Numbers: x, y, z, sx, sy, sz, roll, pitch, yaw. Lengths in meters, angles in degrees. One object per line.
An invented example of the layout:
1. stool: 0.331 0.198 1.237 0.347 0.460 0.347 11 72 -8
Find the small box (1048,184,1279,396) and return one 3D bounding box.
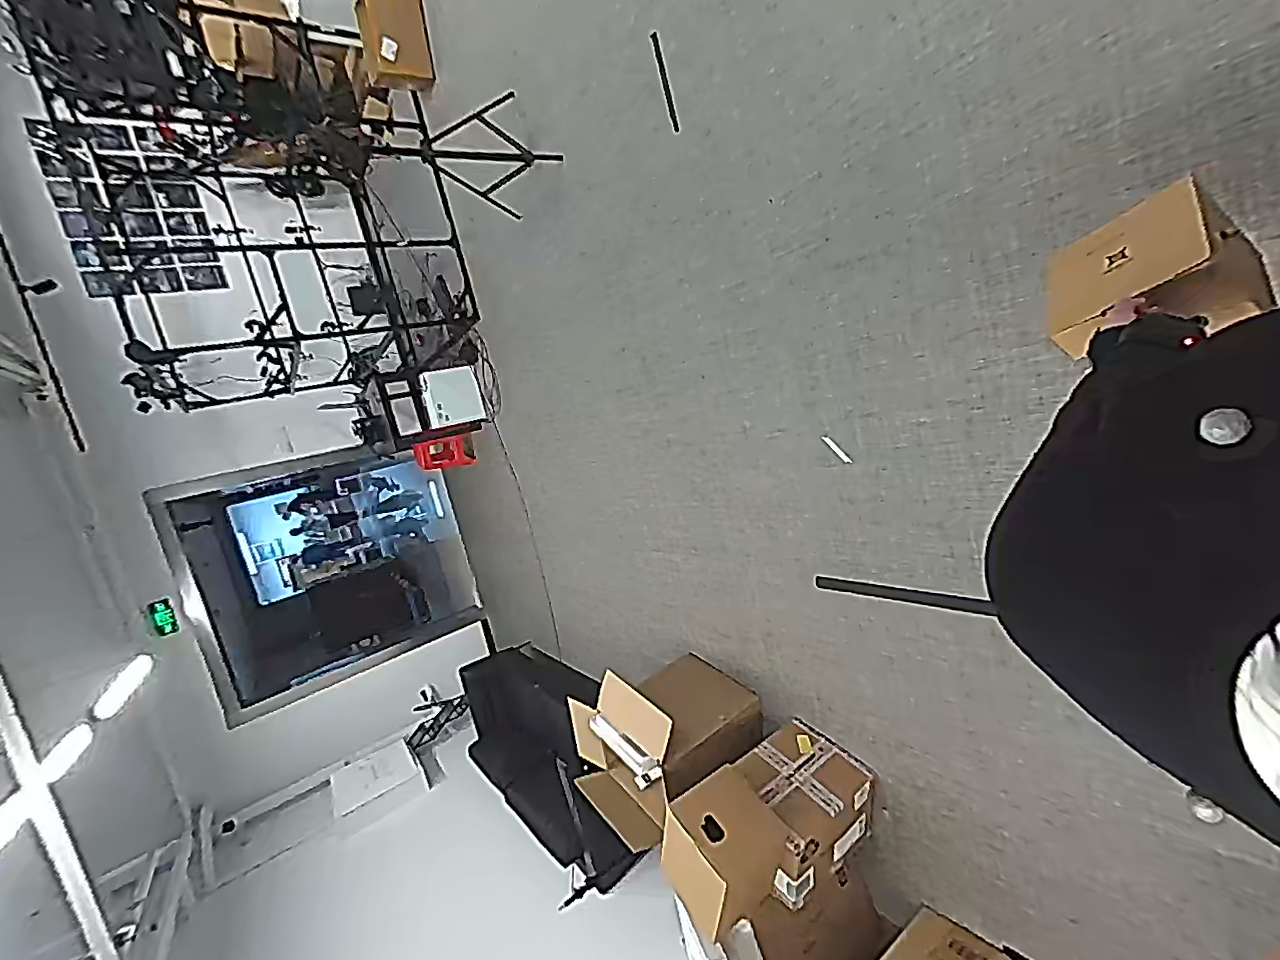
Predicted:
1. small box: 0.682 -0.236 0.718 0.176 0.179 0.168 33 150 -15
